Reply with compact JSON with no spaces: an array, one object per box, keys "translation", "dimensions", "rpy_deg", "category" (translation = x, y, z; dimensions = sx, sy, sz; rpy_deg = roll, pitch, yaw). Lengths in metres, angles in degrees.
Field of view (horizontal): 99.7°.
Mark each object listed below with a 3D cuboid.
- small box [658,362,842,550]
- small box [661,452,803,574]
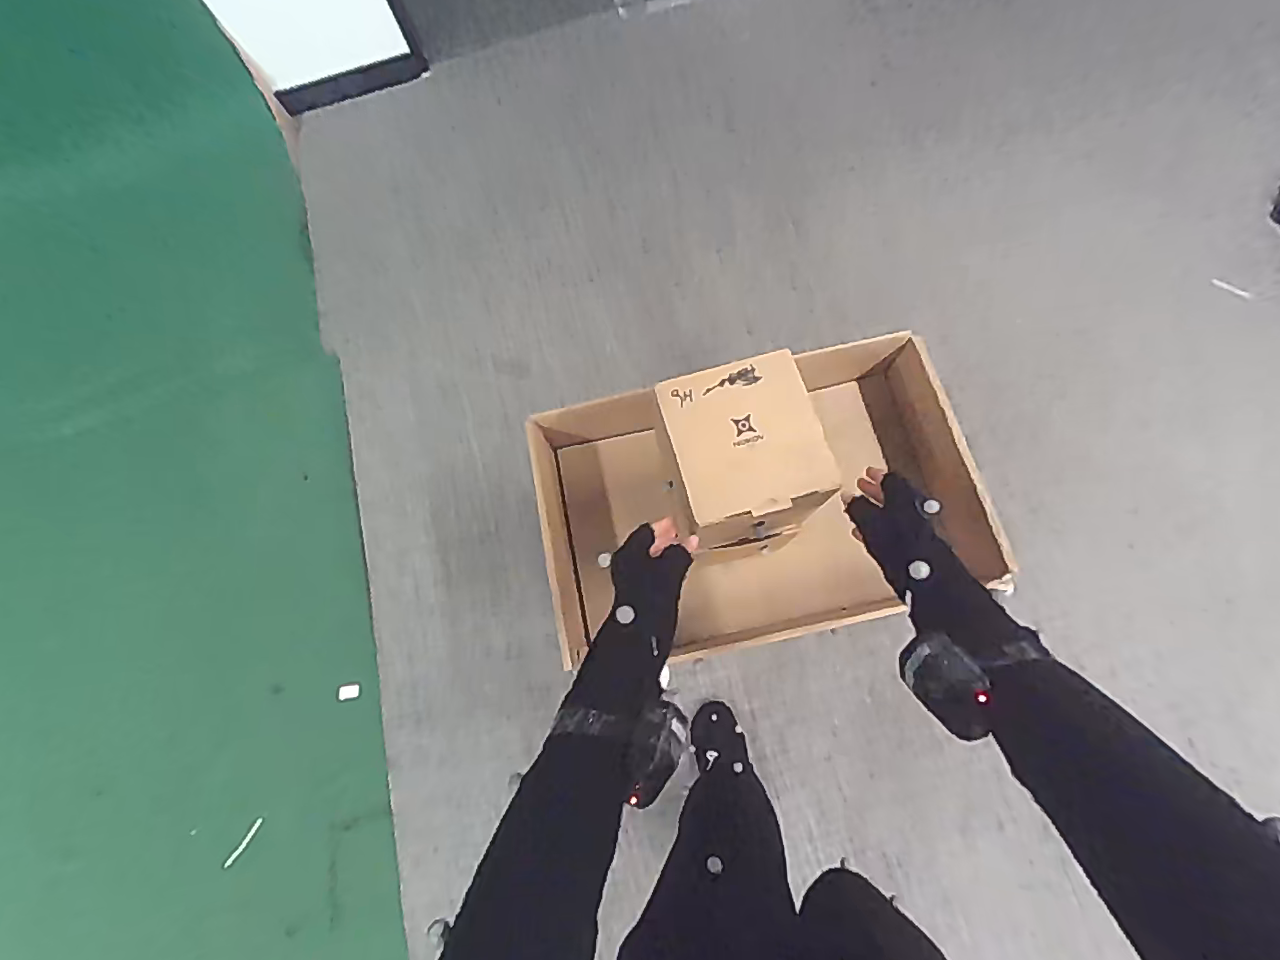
[{"translation":[0.124,-0.017,0.679],"dimensions":[0.168,0.176,0.179],"rpy_deg":[-15,73,-2],"category":"small box"},{"translation":[0.132,0.040,0.832],"dimensions":[0.168,0.176,0.179],"rpy_deg":[-12,71,-2],"category":"small box"}]
